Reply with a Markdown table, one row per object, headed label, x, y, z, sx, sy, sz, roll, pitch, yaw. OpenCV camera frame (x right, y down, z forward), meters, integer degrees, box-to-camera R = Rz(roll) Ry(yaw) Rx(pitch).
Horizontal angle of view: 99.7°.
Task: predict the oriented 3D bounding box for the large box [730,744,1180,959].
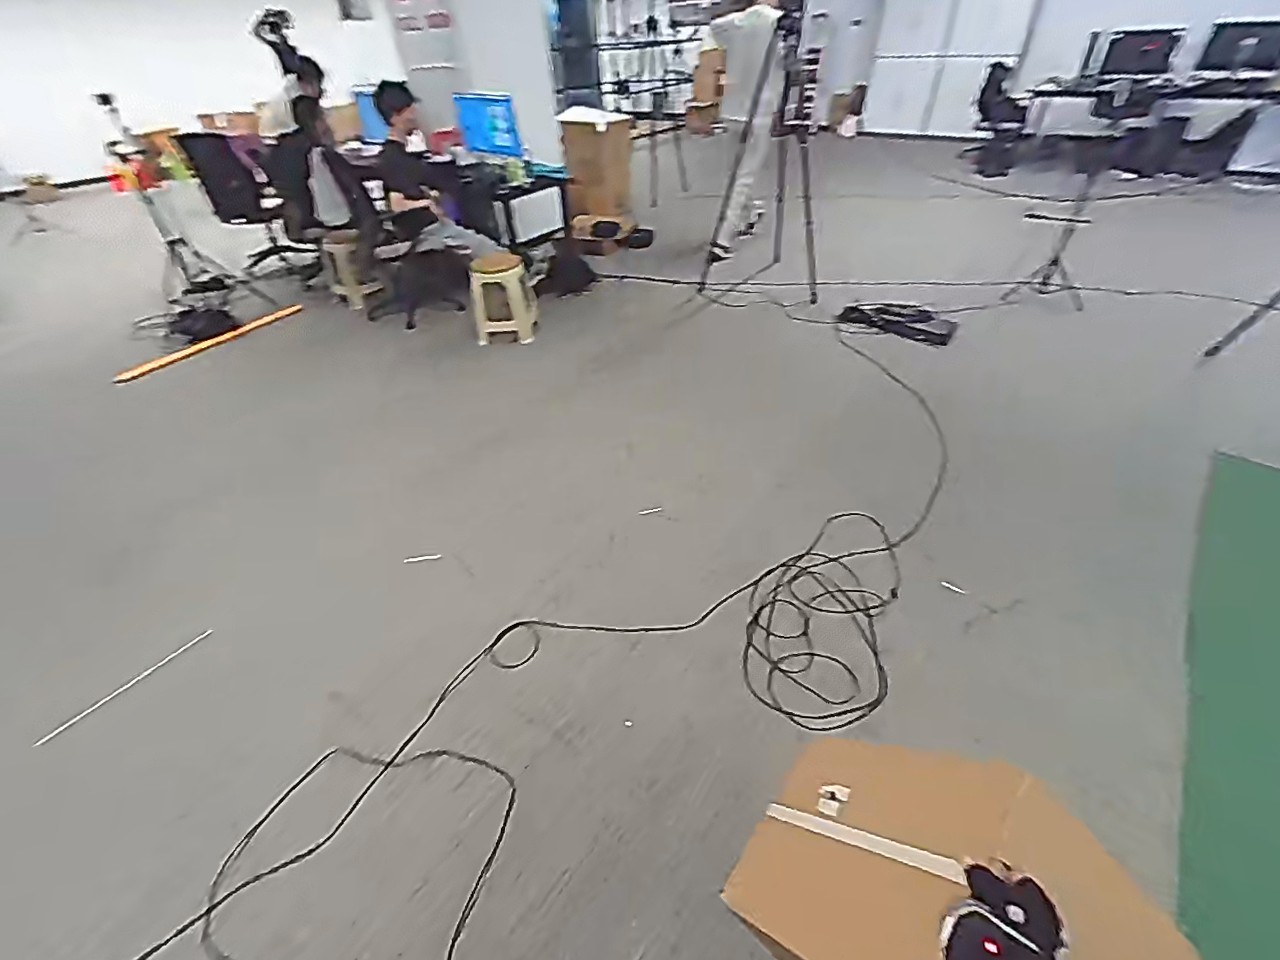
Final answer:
| label | x | y | z | sx | sy | sz | roll | pitch | yaw |
| --- | --- | --- | --- | --- | --- | --- | --- | --- | --- |
| large box | 0.411 | 0.620 | 0.764 | 0.320 | 0.408 | 0.320 | 47 | 60 | 1 |
